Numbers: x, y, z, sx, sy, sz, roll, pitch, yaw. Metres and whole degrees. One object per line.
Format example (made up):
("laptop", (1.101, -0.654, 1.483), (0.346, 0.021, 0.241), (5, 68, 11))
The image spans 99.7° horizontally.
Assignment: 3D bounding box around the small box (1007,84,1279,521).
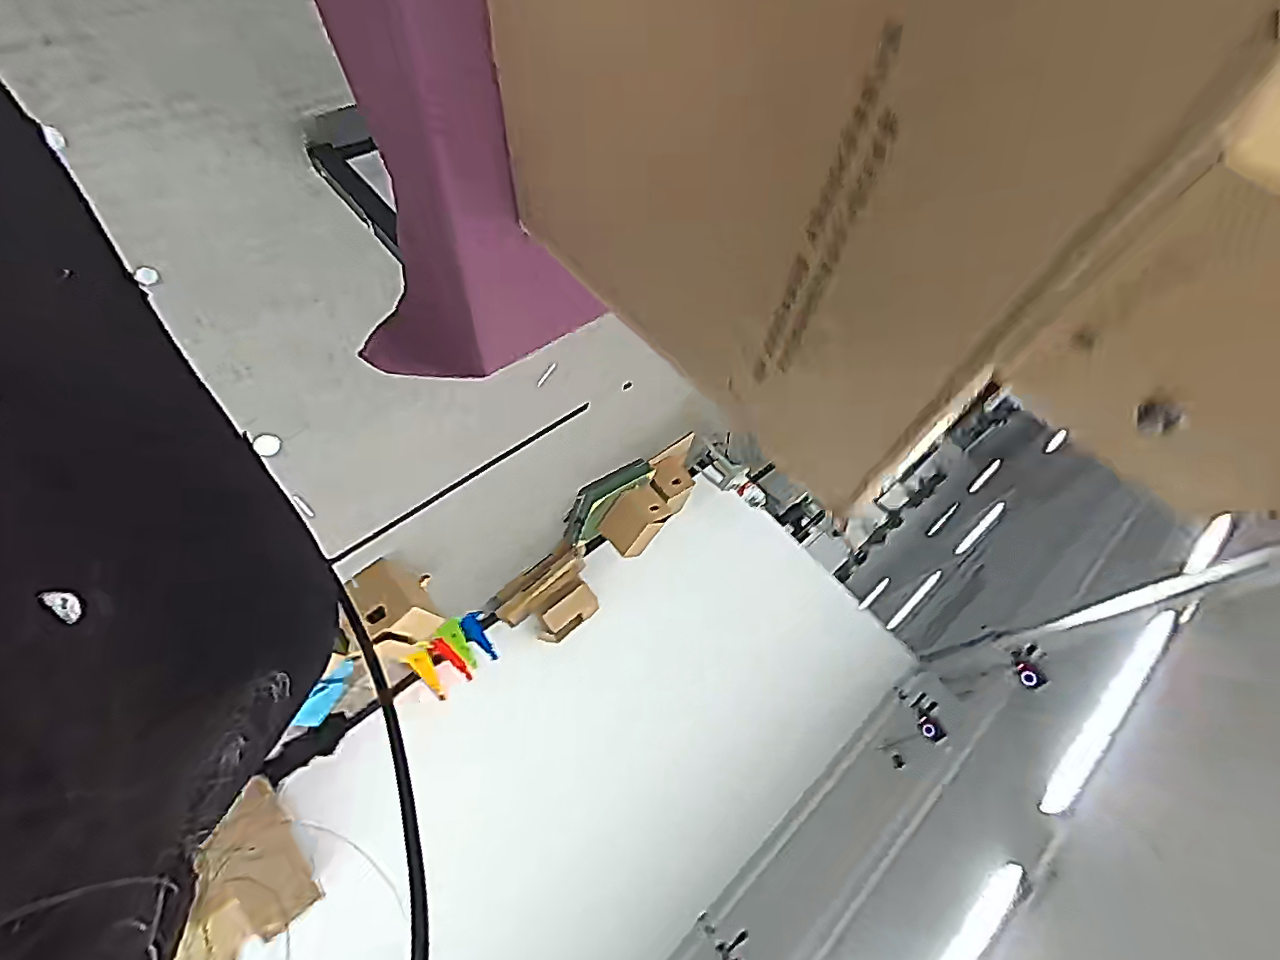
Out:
("small box", (0.383, -0.112, 0.335), (0.179, 0.176, 0.168), (-38, 163, -20))
